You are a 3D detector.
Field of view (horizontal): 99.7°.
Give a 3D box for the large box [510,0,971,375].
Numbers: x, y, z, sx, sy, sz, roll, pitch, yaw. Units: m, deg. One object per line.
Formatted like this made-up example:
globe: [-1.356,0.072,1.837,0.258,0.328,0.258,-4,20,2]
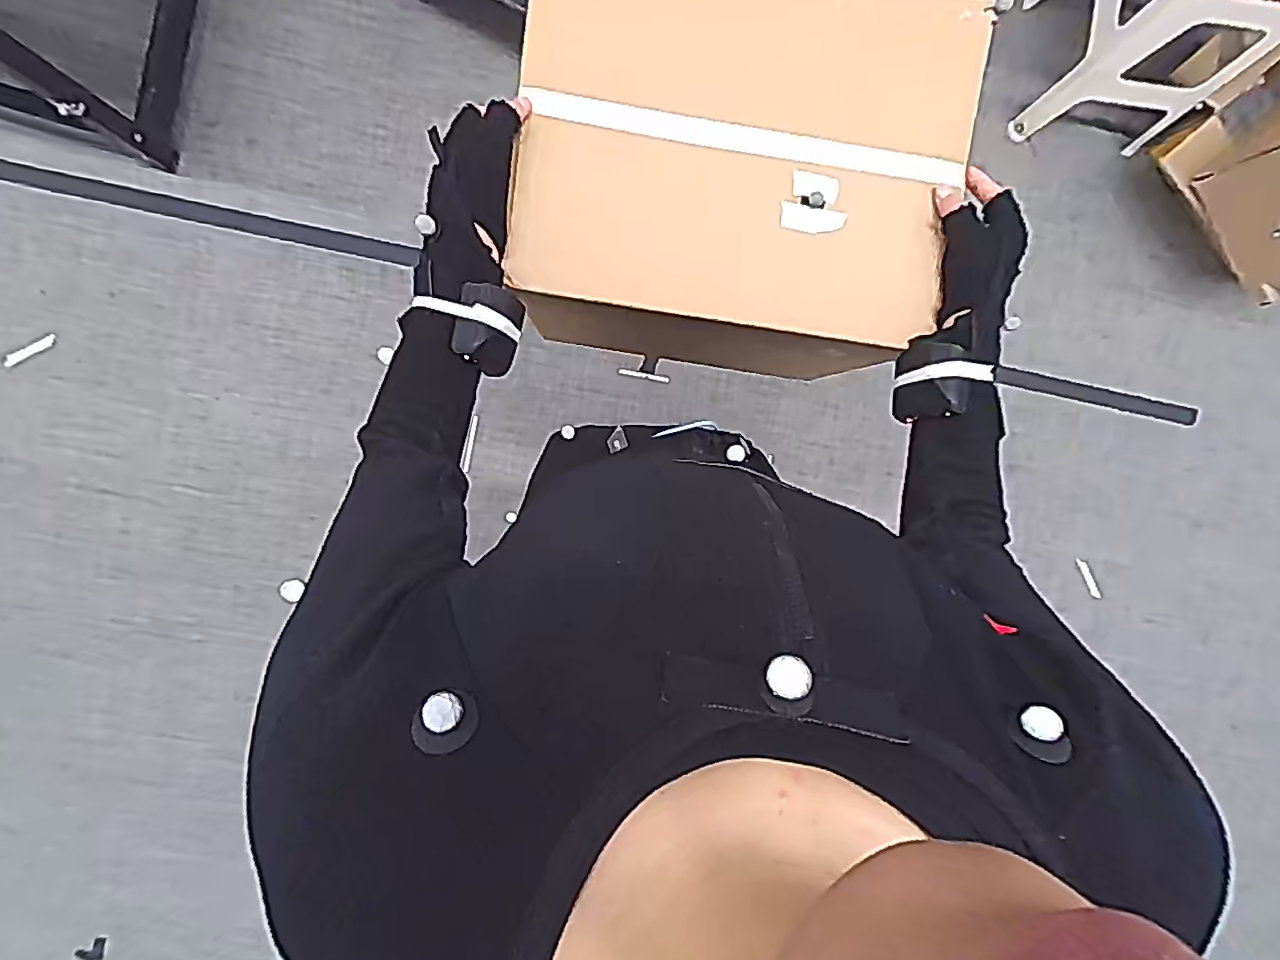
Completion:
large box: [0.082,-0.318,0.646,0.408,0.320,0.320,8,96,-5]
